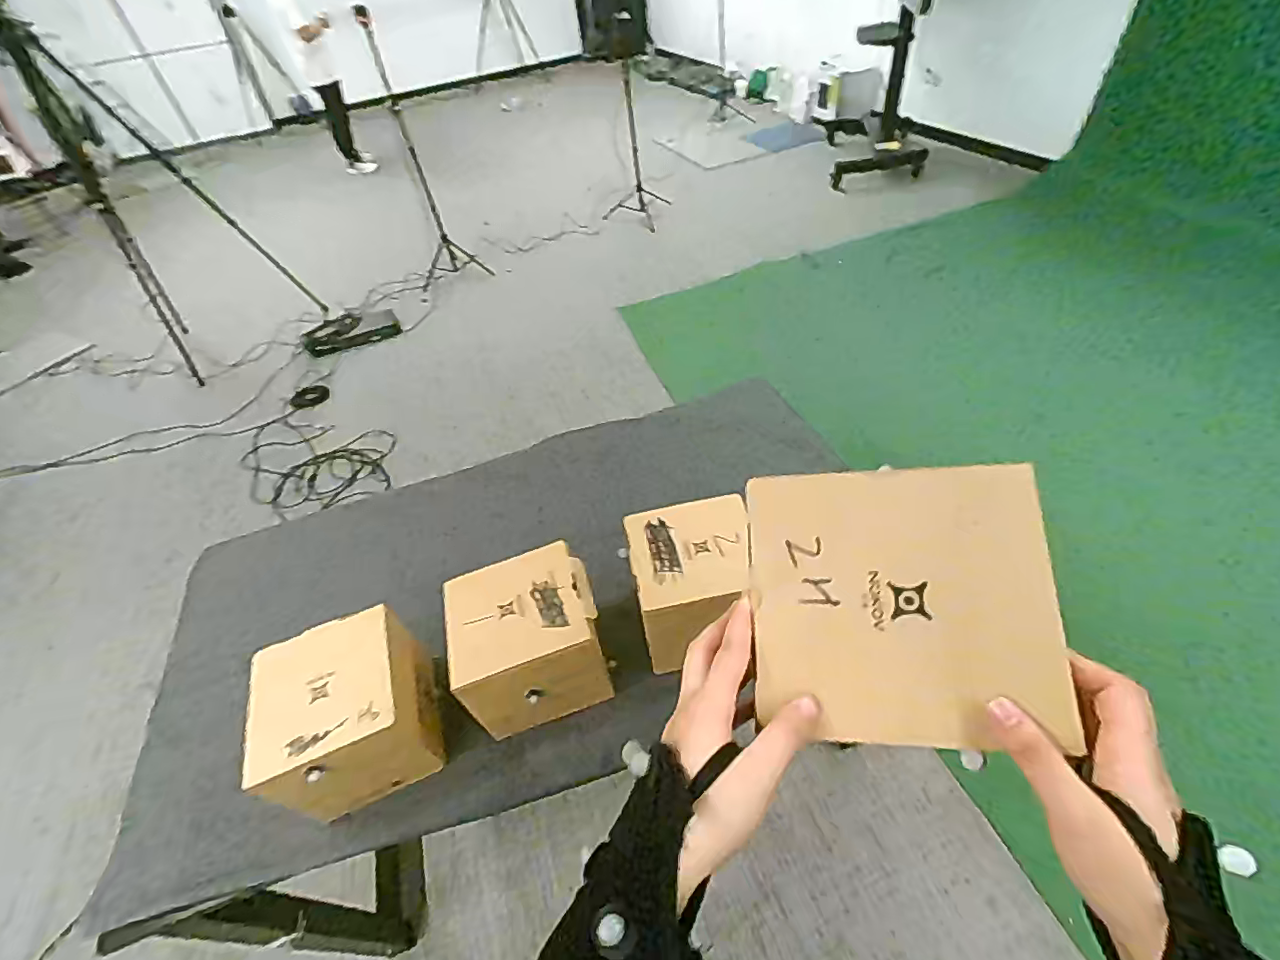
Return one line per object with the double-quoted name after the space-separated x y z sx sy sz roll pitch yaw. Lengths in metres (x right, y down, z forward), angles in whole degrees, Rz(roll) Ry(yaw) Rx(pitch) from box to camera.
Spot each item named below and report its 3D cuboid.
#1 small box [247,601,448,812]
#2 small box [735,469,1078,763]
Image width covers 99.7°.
-0.370 0.299 0.713 0.168 0.176 0.179 -21 47 -9 "small box"
0.168 0.098 0.400 0.179 0.176 0.168 -5 72 15 "small box"
